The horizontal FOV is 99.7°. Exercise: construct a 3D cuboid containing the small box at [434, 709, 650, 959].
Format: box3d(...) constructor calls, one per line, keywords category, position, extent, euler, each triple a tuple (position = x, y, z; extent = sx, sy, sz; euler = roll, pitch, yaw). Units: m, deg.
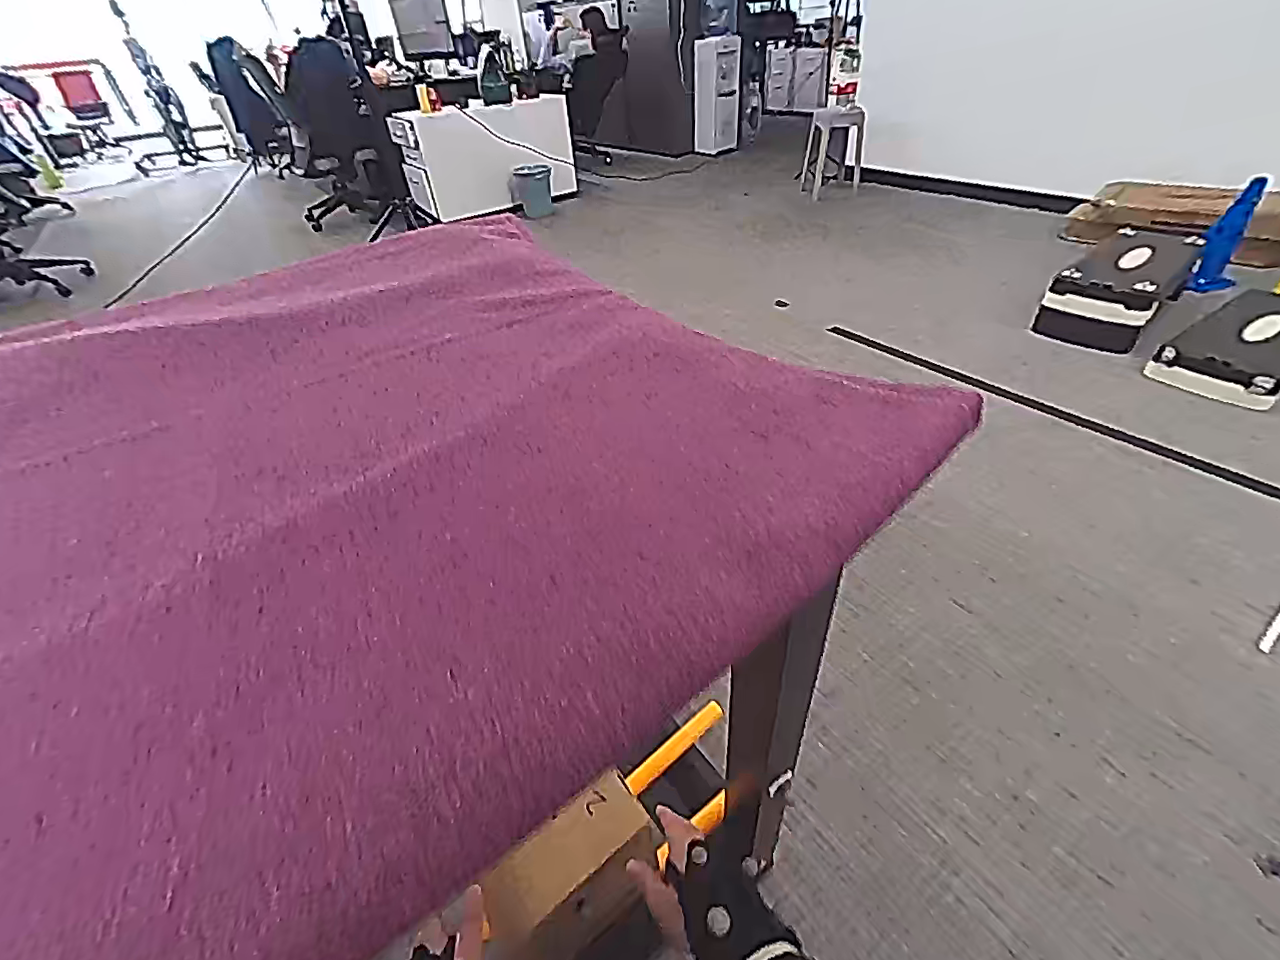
box3d(category="small box", position=(-0.103, 0.416, 0.625), extent=(0.179, 0.176, 0.168), euler=(-30, 47, -25))
